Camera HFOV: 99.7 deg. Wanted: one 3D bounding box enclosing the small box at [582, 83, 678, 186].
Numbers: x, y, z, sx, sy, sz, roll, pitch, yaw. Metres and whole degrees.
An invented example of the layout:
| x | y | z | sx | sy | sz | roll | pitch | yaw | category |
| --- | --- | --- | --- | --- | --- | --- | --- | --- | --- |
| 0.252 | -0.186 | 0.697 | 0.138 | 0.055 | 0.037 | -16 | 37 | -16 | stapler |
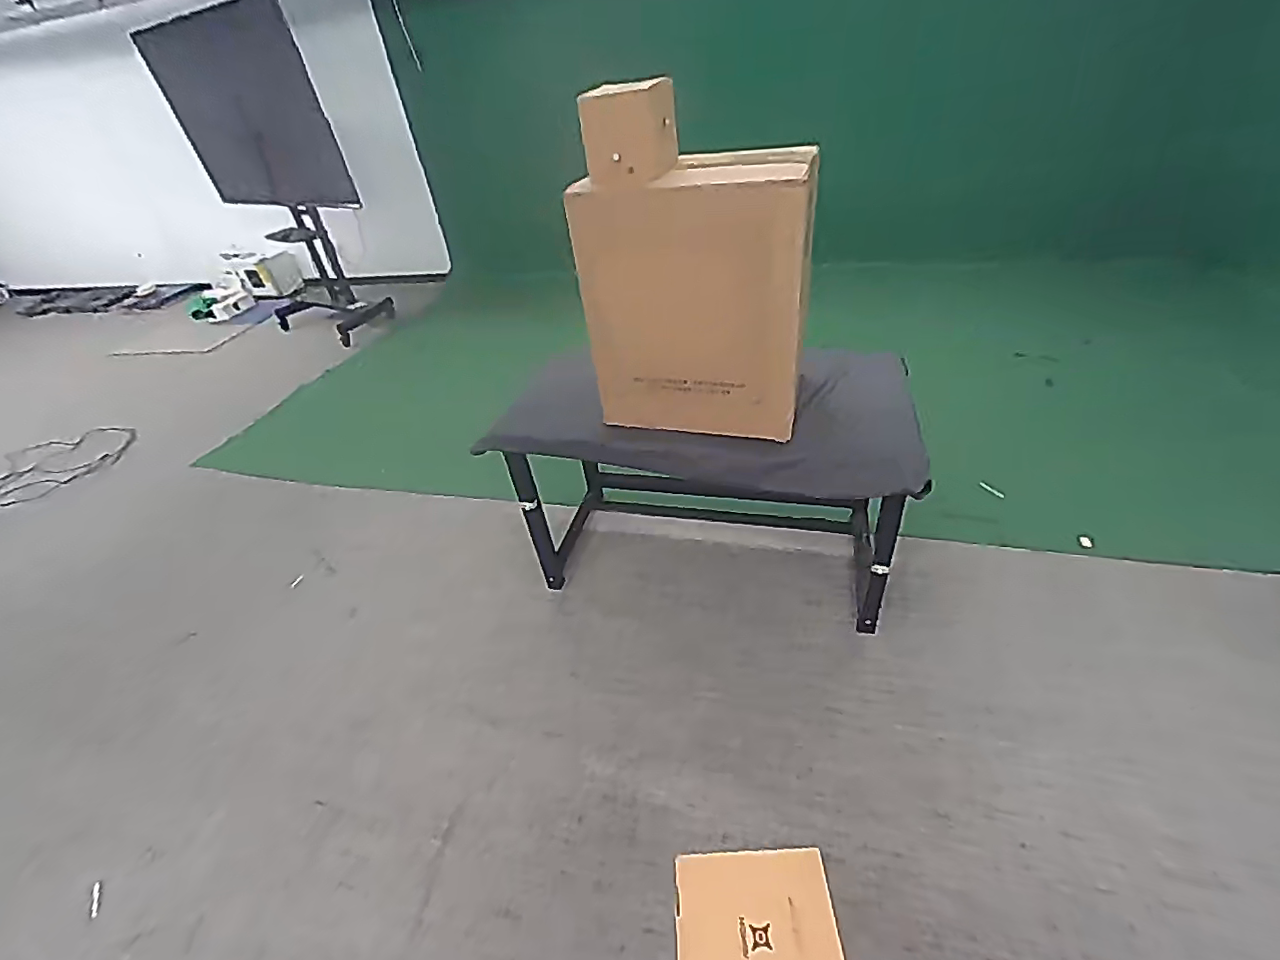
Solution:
| x | y | z | sx | sy | sz | roll | pitch | yaw | category |
| --- | --- | --- | --- | --- | --- | --- | --- | --- | --- |
| -0.014 | -0.784 | 1.234 | 0.168 | 0.176 | 0.179 | 6 | 43 | 19 | small box |

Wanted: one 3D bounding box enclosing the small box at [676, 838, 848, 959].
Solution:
| x | y | z | sx | sy | sz | roll | pitch | yaw | category |
| --- | --- | --- | --- | --- | --- | --- | --- | --- | --- |
| 0.141 | 0.553 | 0.641 | 0.179 | 0.176 | 0.168 | -6 | 38 | 4 | small box |
